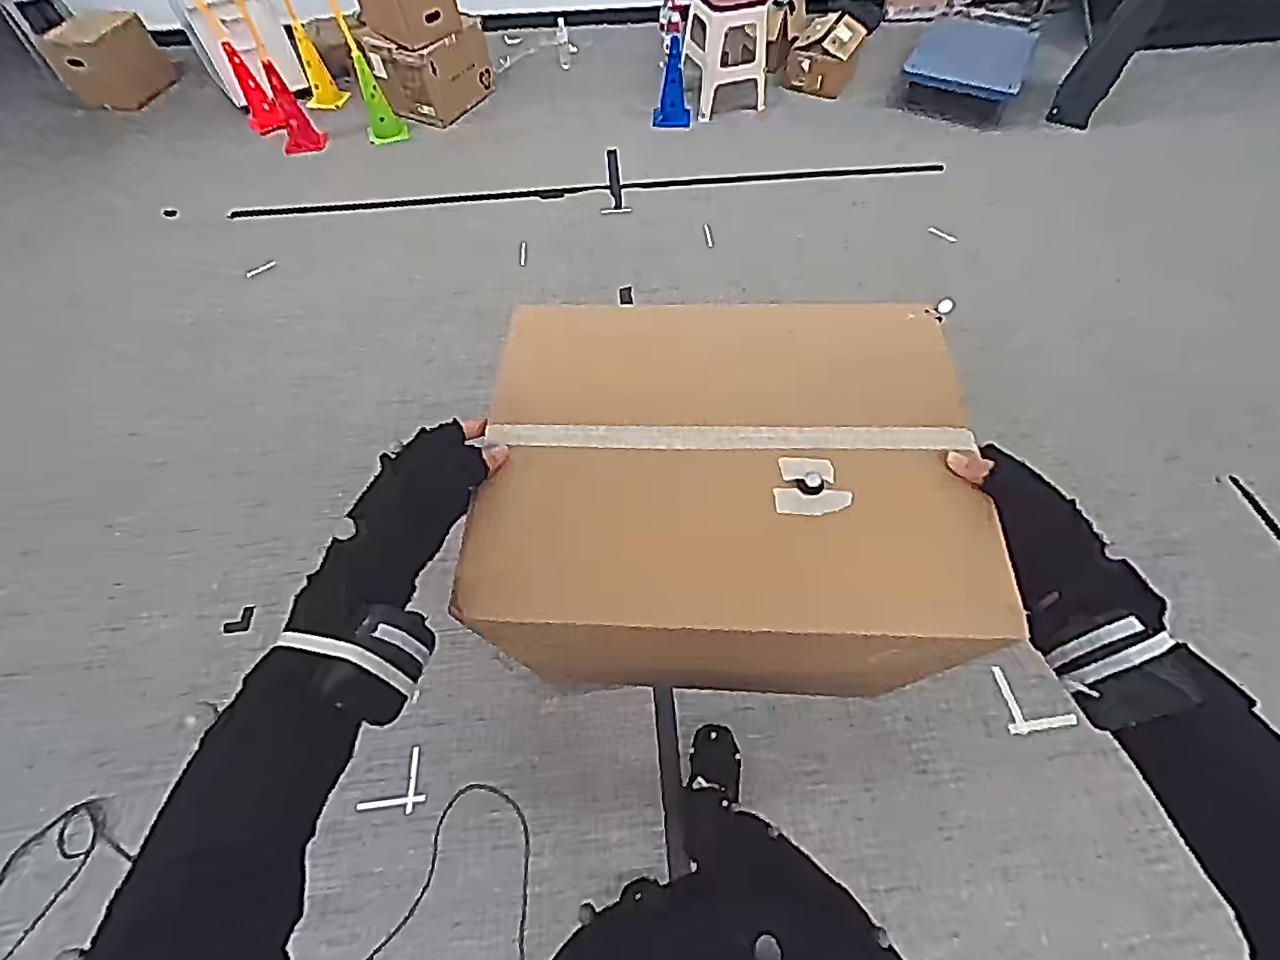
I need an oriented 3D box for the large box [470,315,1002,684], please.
[{"bbox_3d":[0.076,0.040,0.601,0.408,0.320,0.320,1,62,3],"label":"large box"}]
